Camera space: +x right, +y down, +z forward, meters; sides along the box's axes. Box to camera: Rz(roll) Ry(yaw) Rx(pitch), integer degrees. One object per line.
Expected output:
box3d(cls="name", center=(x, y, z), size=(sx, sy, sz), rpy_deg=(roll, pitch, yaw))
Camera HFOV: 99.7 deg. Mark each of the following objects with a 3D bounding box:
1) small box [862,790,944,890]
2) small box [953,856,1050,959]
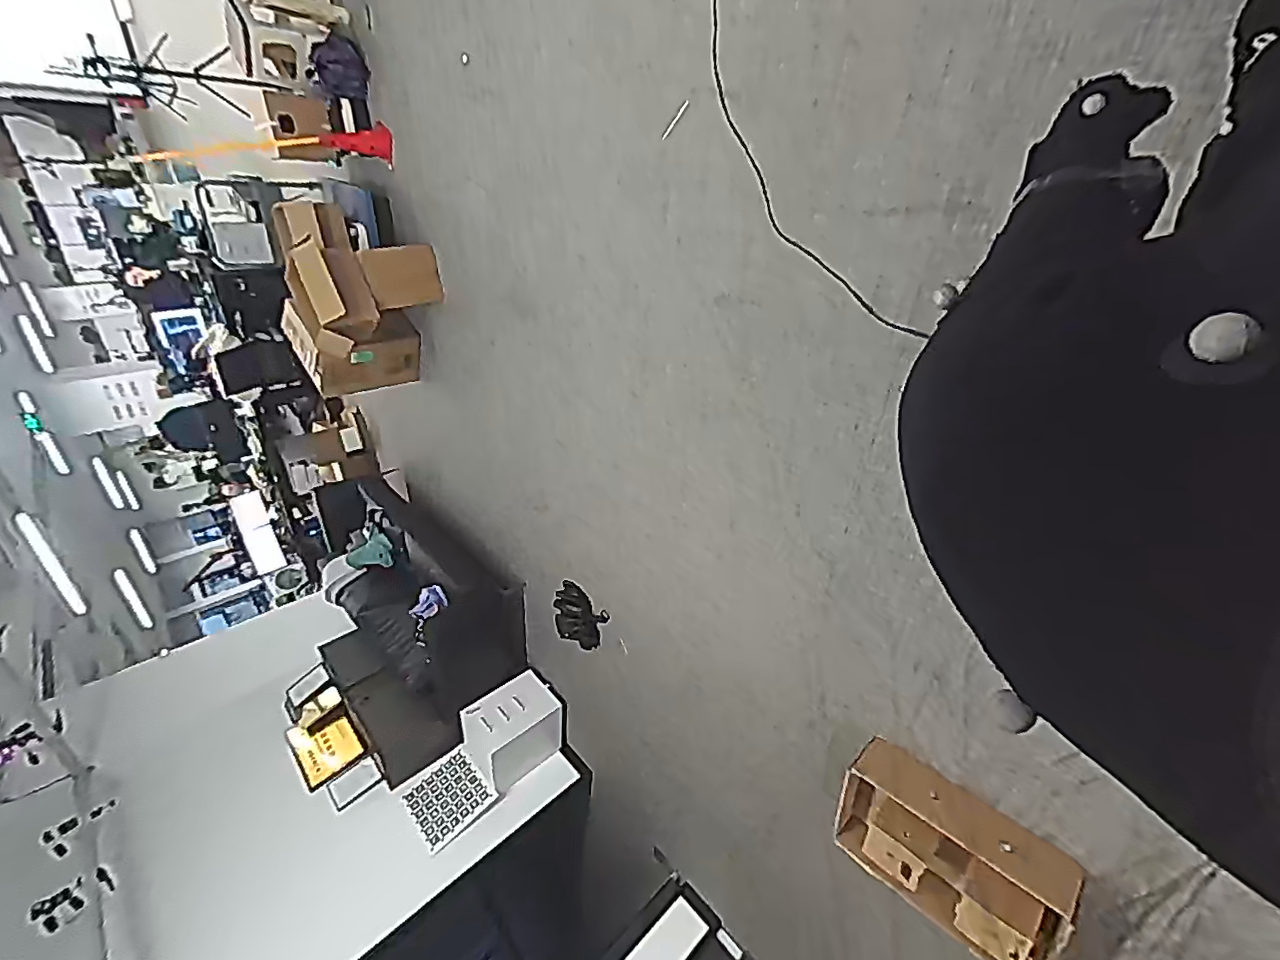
box3d(cls="small box", center=(0.859, 1.165, 1.762), size=(0.179, 0.176, 0.168), rpy_deg=(25, 126, 39))
box3d(cls="small box", center=(1.053, 1.250, 1.578), size=(0.179, 0.176, 0.168), rpy_deg=(22, 125, 44))
